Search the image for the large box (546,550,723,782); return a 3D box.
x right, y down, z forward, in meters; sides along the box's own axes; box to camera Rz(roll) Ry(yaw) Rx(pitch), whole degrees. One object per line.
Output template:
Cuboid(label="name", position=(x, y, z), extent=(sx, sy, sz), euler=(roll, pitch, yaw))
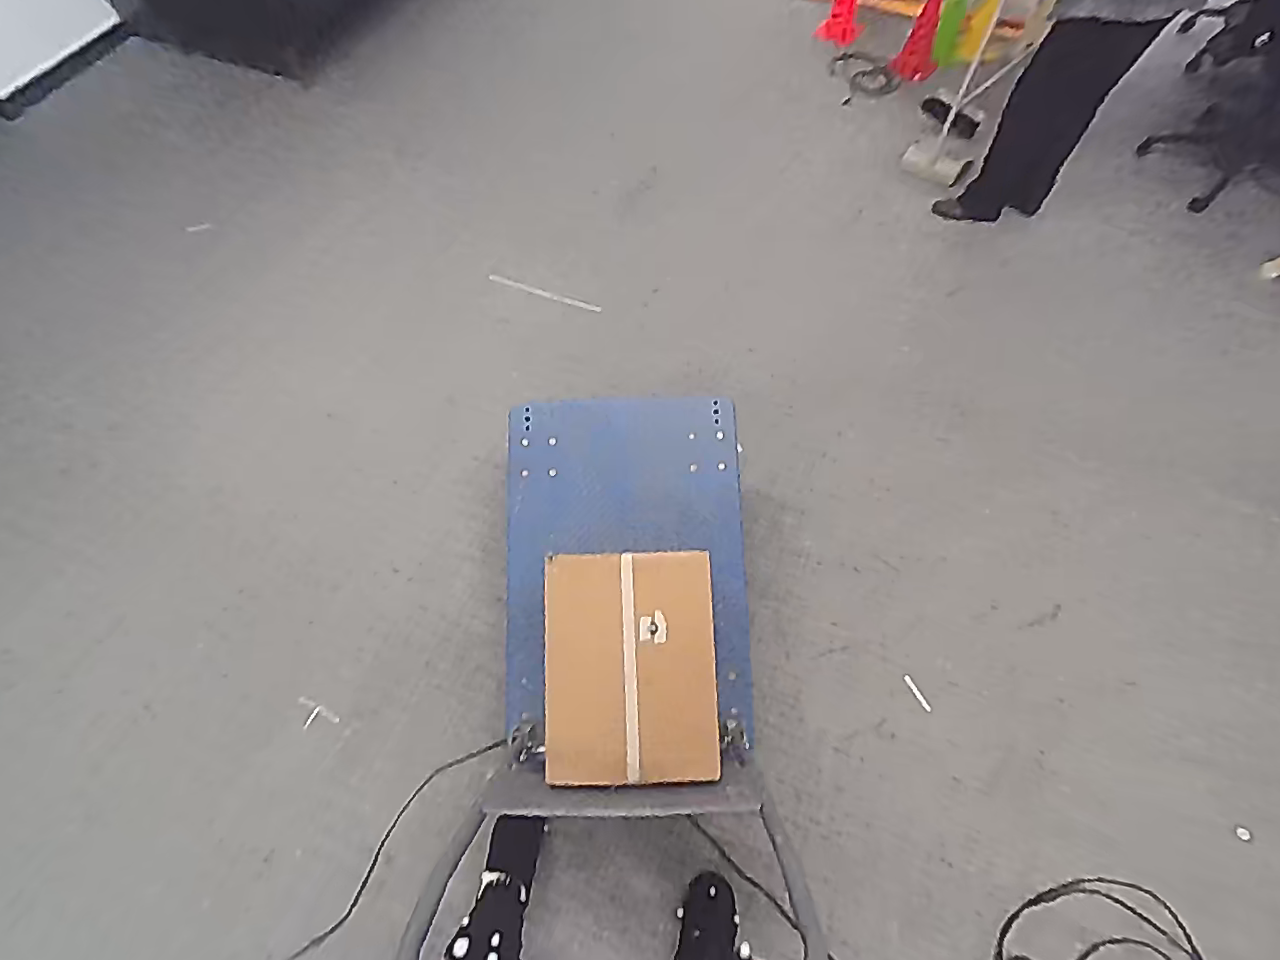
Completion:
Cuboid(label="large box", position=(-0.011, 0.363, 1.141), extent=(0.320, 0.320, 0.408), euler=(-3, 80, 1))
